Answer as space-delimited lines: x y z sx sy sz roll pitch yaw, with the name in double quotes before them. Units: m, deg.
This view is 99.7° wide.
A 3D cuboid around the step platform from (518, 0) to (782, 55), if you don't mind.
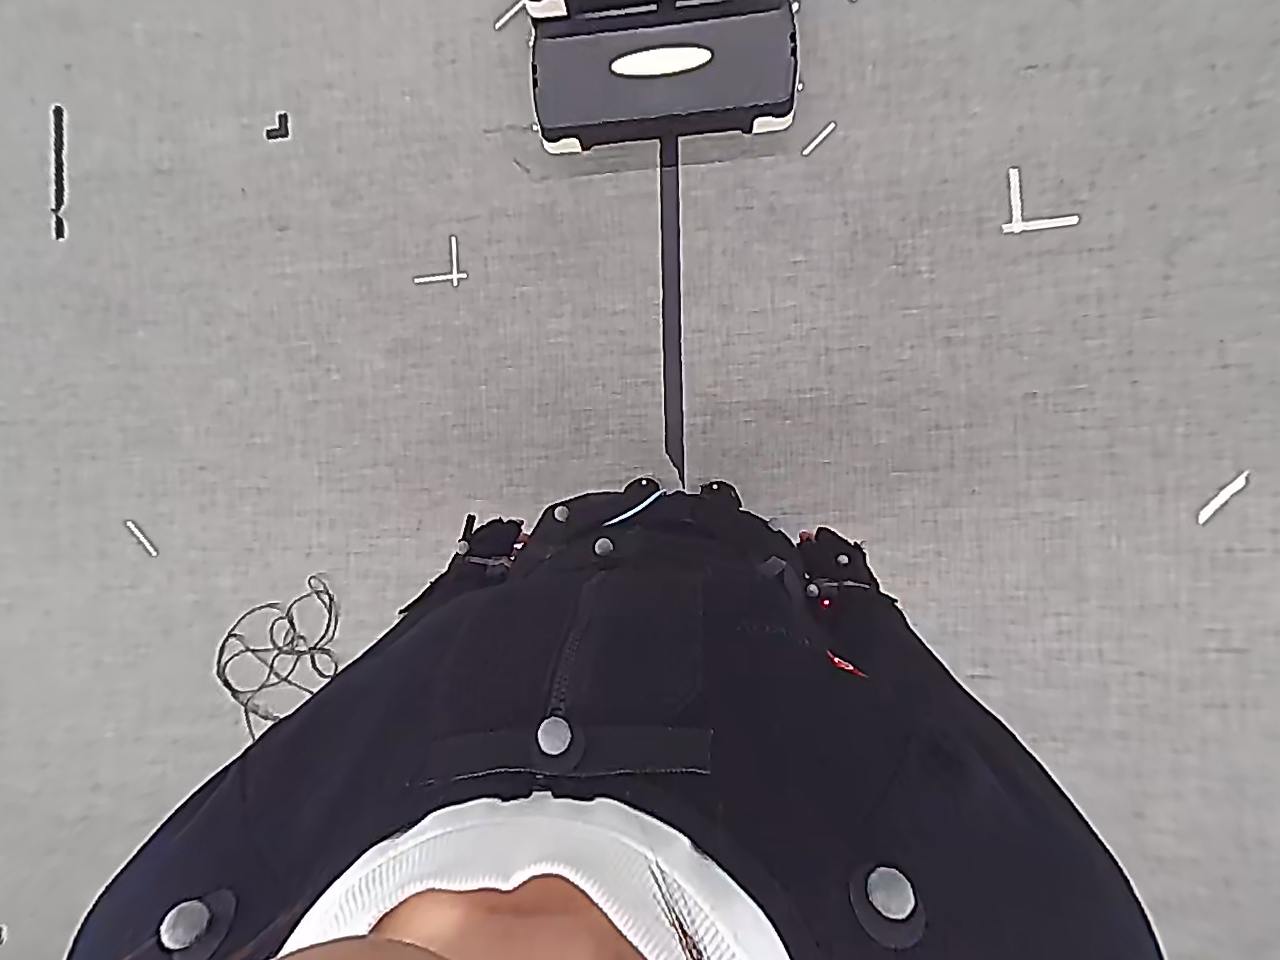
"step platform" 0.023 -1.301 1.336 0.684 0.204 0.286 -3 91 6
